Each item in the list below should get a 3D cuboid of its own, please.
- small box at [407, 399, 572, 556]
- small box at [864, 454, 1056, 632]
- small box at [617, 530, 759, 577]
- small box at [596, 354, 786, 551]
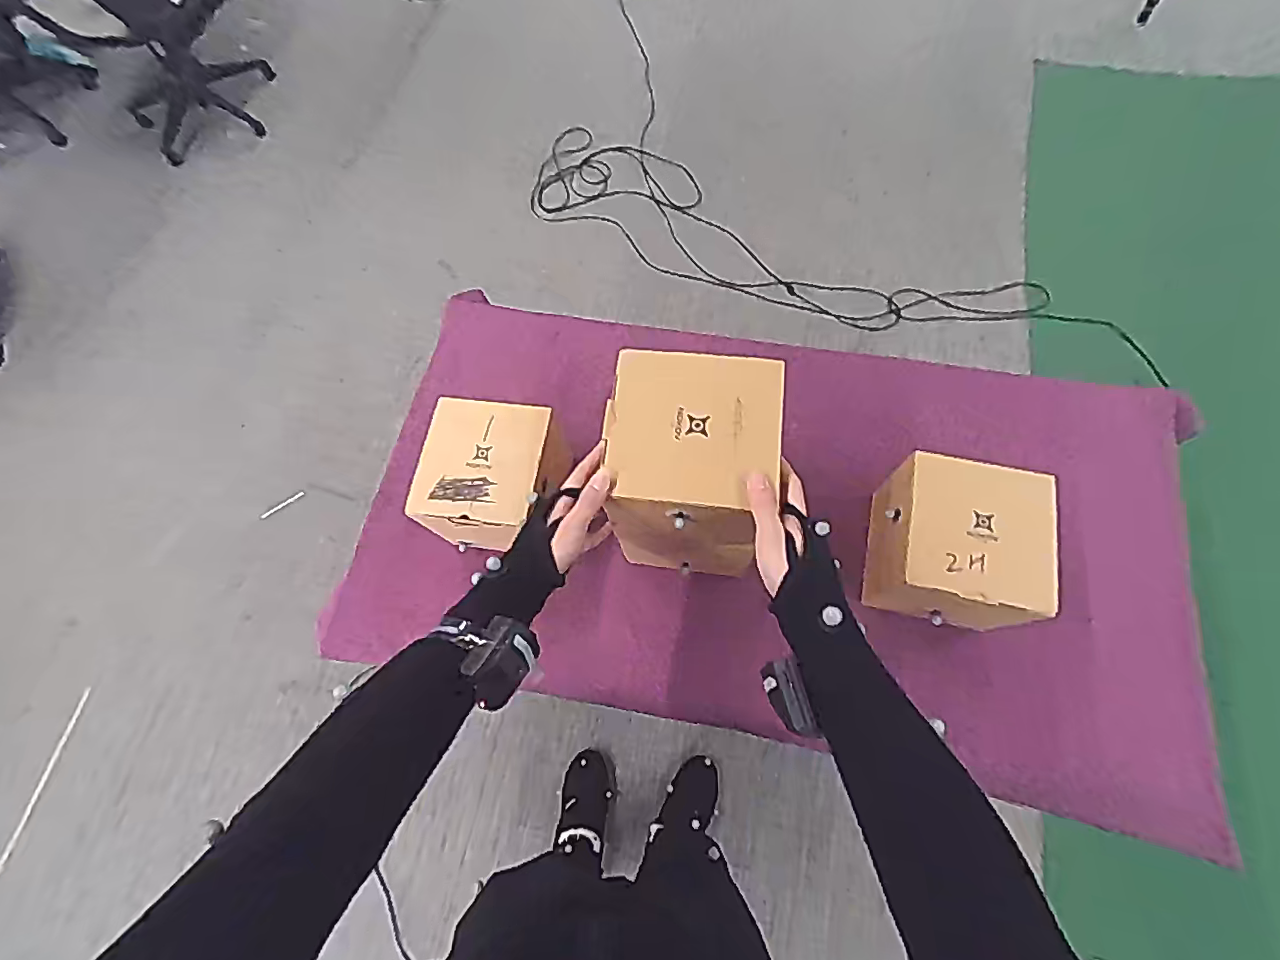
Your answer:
[{"bbox_3d":[-0.206,0.004,0.797,0.168,0.176,0.179,7,69,7],"label":"small box"},{"bbox_3d":[0.411,0.090,0.718,0.168,0.176,0.179,12,70,10],"label":"small box"},{"bbox_3d":[0.073,0.035,0.766,0.179,0.176,0.168,7,69,7],"label":"small box"},{"bbox_3d":[0.060,-0.023,0.615,0.179,0.176,0.168,6,71,6],"label":"small box"}]
